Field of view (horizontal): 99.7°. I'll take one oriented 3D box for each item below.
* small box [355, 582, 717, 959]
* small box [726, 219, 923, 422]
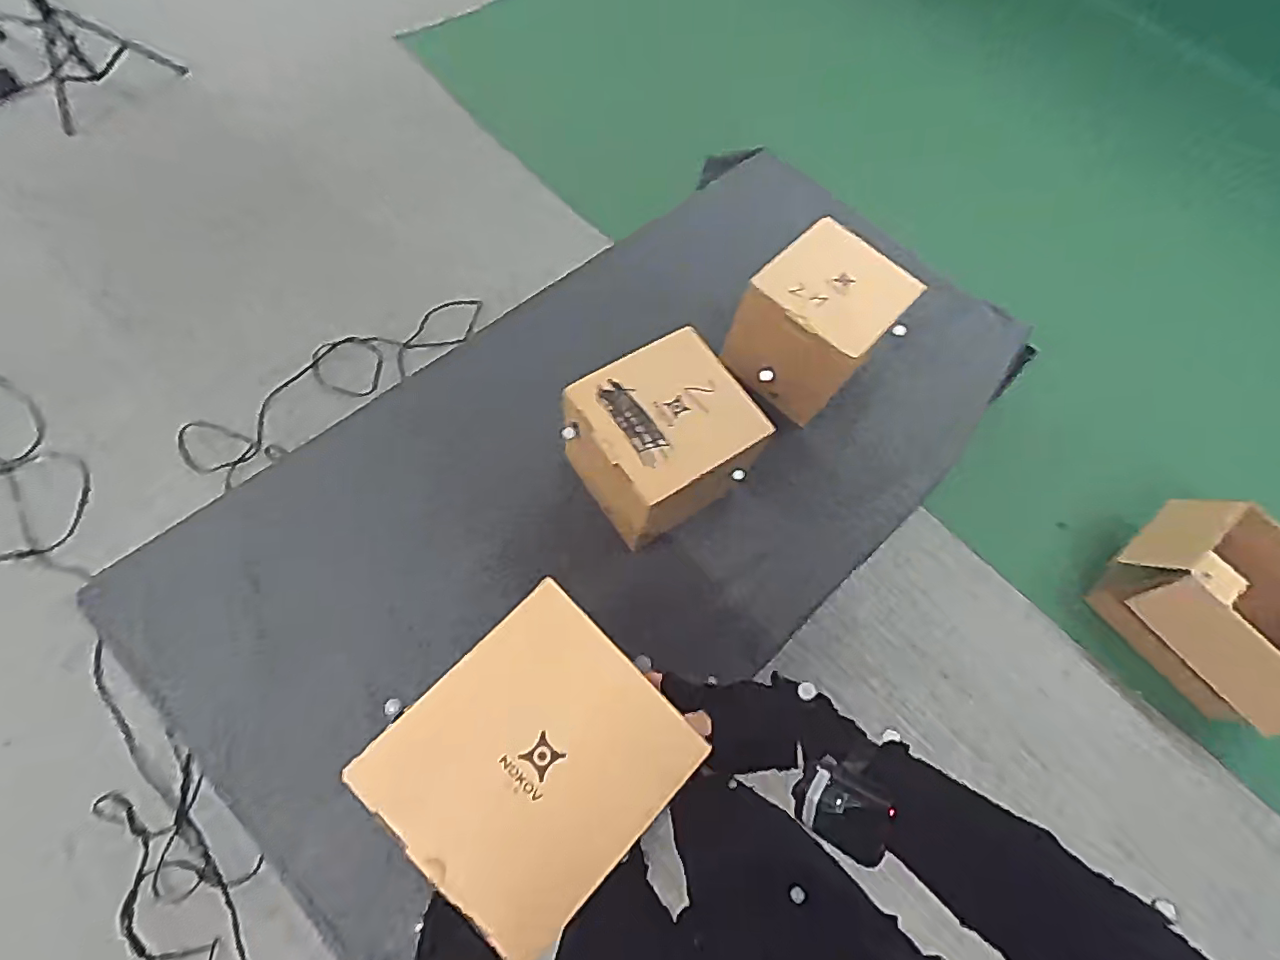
[{"bbox_3d":[-0.075,0.200,0.425,0.179,0.176,0.168,-42,87,-16],"label":"small box"},{"bbox_3d":[0.246,-0.217,0.763,0.168,0.176,0.179,42,69,12],"label":"small box"}]
